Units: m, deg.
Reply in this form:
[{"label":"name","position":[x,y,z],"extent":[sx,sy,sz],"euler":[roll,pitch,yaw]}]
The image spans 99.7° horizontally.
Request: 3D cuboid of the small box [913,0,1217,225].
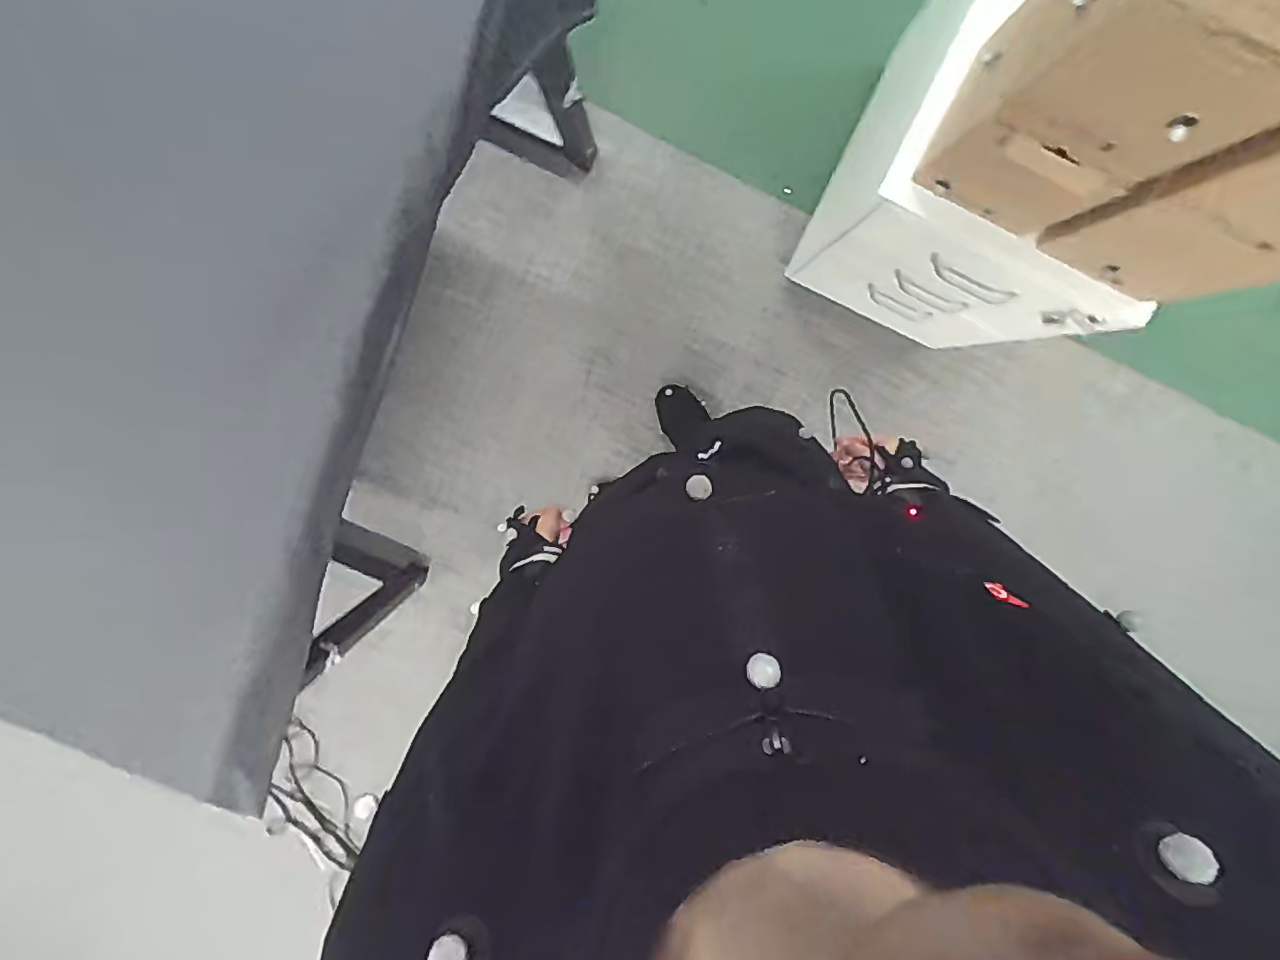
[{"label":"small box","position":[0.440,-0.415,0.599],"extent":[0.168,0.176,0.179],"euler":[25,99,-4]}]
